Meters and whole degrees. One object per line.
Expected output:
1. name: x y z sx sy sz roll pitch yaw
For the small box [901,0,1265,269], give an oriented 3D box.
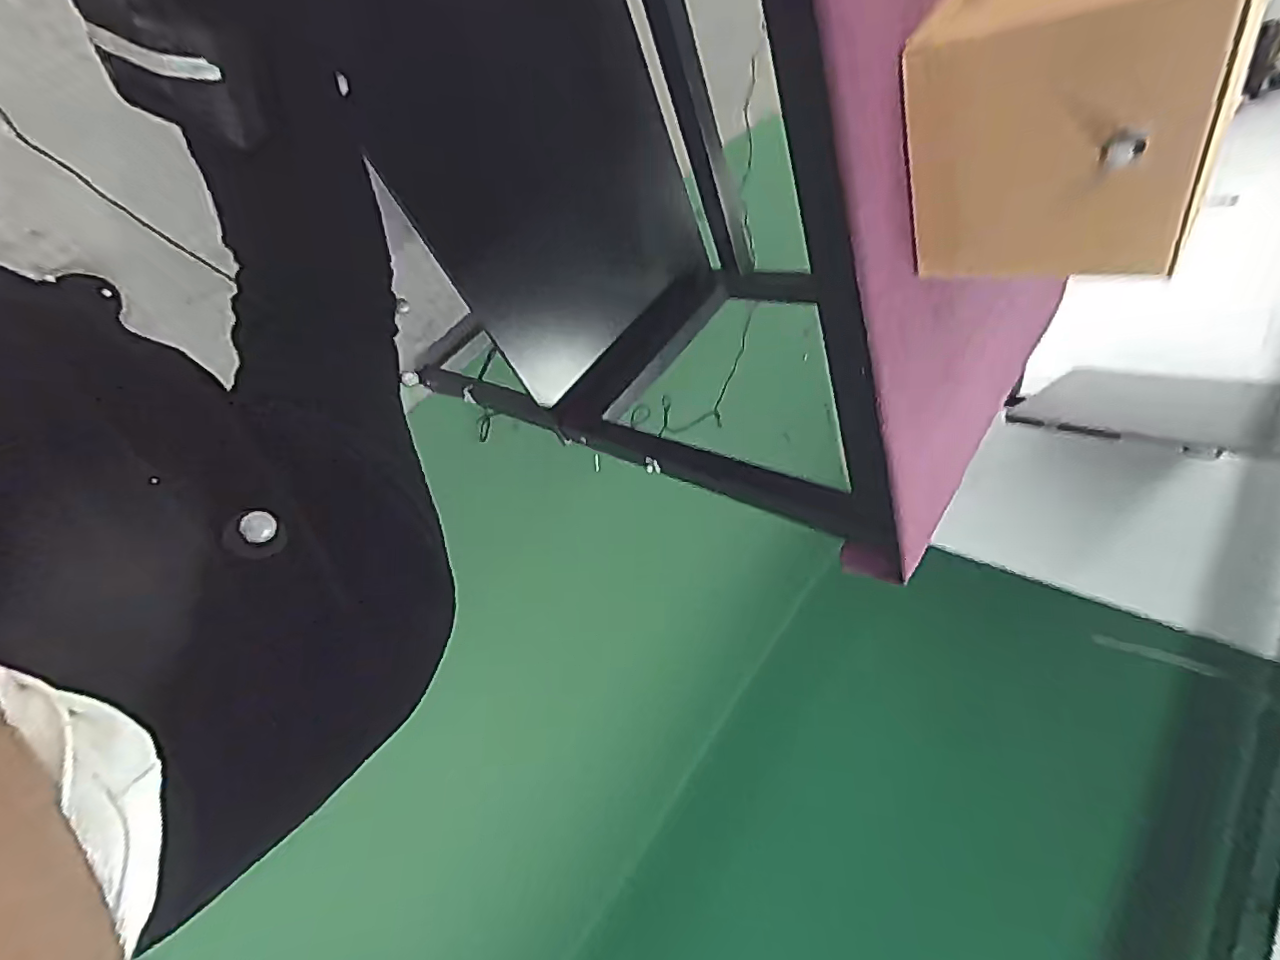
1. small box: 0.312 -0.278 0.394 0.168 0.176 0.179 -53 135 -19
